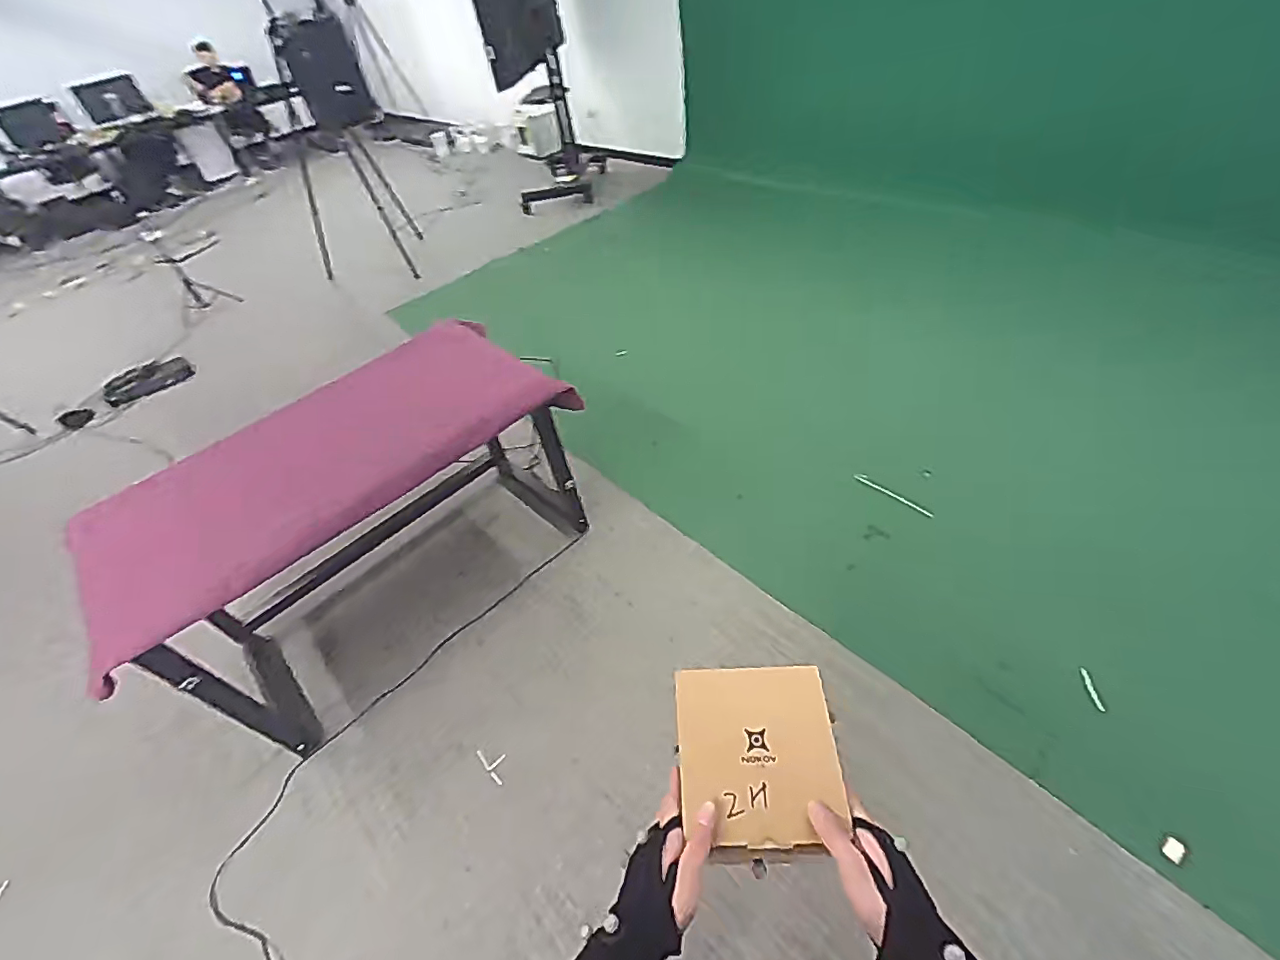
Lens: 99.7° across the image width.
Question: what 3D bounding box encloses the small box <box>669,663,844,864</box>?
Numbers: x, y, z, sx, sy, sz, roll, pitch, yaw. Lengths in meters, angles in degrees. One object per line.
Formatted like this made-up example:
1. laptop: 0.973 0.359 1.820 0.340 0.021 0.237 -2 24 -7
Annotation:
1. small box: 0.118 0.332 0.630 0.168 0.176 0.179 -3 50 3
